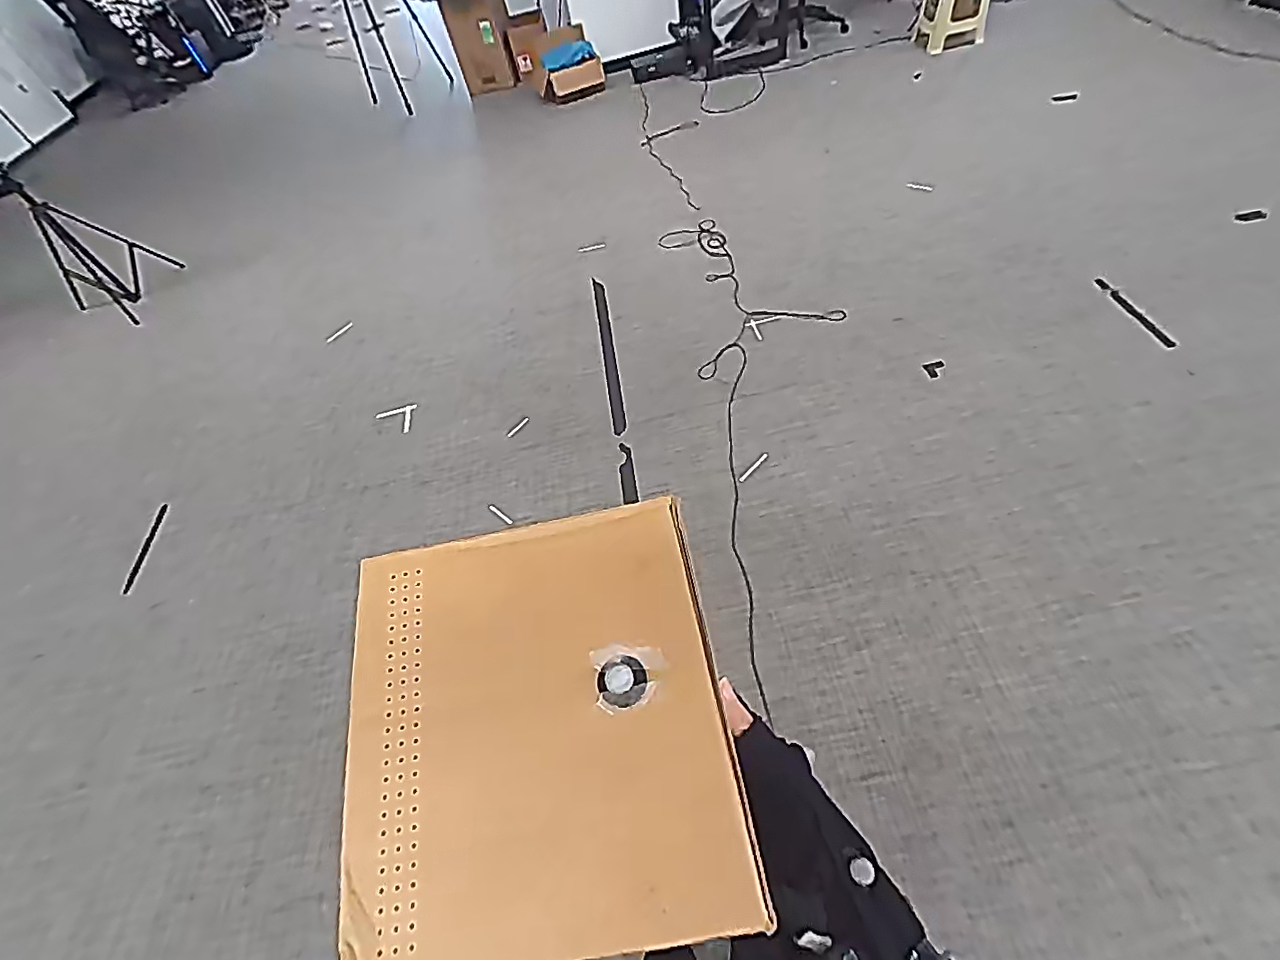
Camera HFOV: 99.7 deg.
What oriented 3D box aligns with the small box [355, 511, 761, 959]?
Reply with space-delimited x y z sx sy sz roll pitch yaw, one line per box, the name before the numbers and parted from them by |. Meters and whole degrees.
small box | -0.040 0.143 0.316 0.176 0.168 0.179 -12 62 2
